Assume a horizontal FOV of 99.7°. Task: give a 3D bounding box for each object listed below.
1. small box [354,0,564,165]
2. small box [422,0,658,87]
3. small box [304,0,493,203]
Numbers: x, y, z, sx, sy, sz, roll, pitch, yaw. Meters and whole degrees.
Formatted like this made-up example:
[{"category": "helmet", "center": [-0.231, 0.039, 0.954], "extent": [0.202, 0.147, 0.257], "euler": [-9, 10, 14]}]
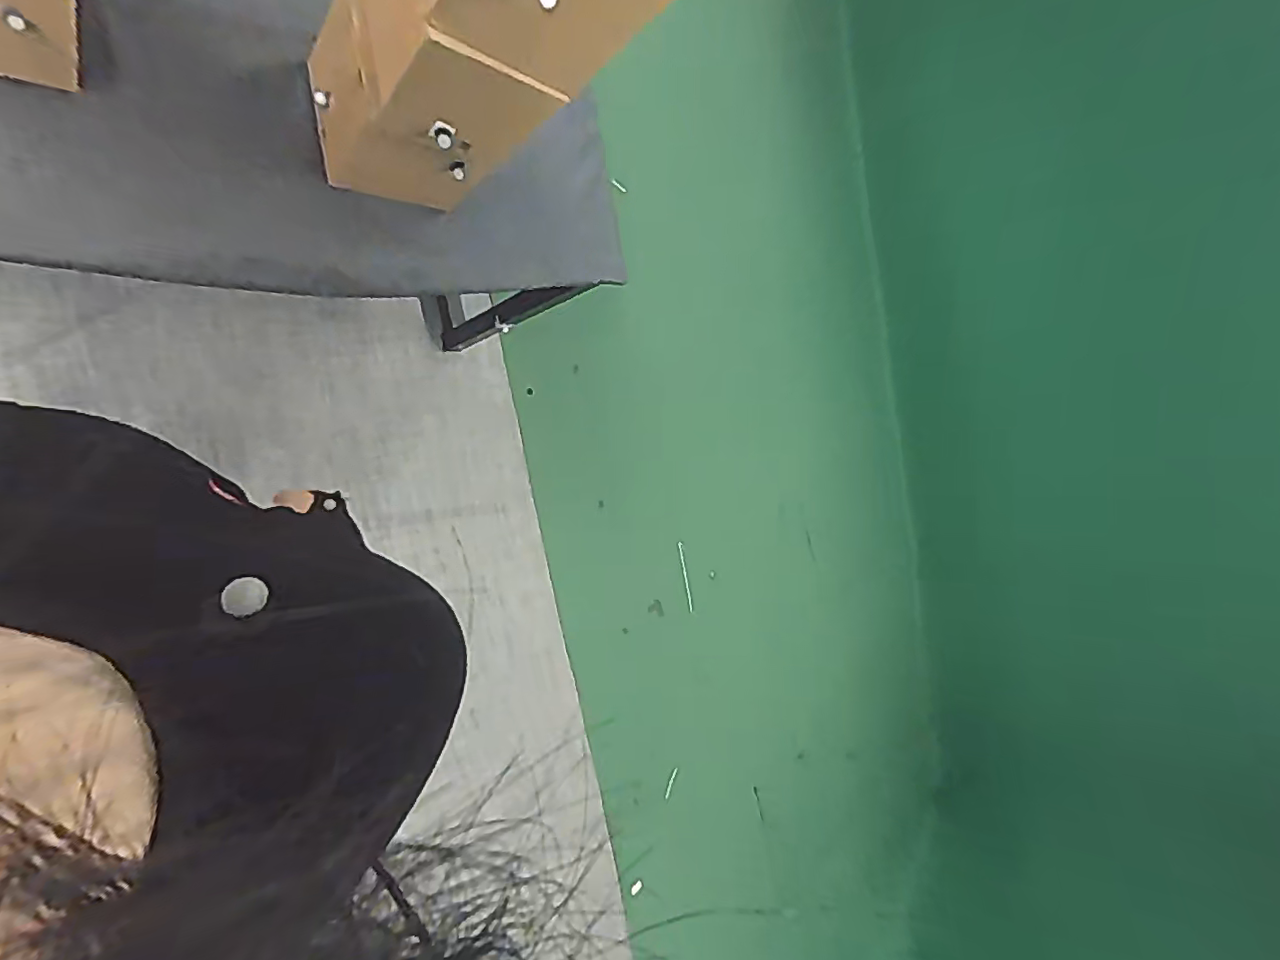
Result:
[{"category": "small box", "center": [-0.207, -0.500, 0.610], "extent": [0.168, 0.176, 0.179], "euler": [-8, 94, -43]}, {"category": "small box", "center": [-0.092, -0.511, 0.493], "extent": [0.179, 0.176, 0.168], "euler": [-6, 91, -43]}, {"category": "small box", "center": [-0.321, -0.499, 0.726], "extent": [0.179, 0.176, 0.168], "euler": [-11, 94, -44]}]
